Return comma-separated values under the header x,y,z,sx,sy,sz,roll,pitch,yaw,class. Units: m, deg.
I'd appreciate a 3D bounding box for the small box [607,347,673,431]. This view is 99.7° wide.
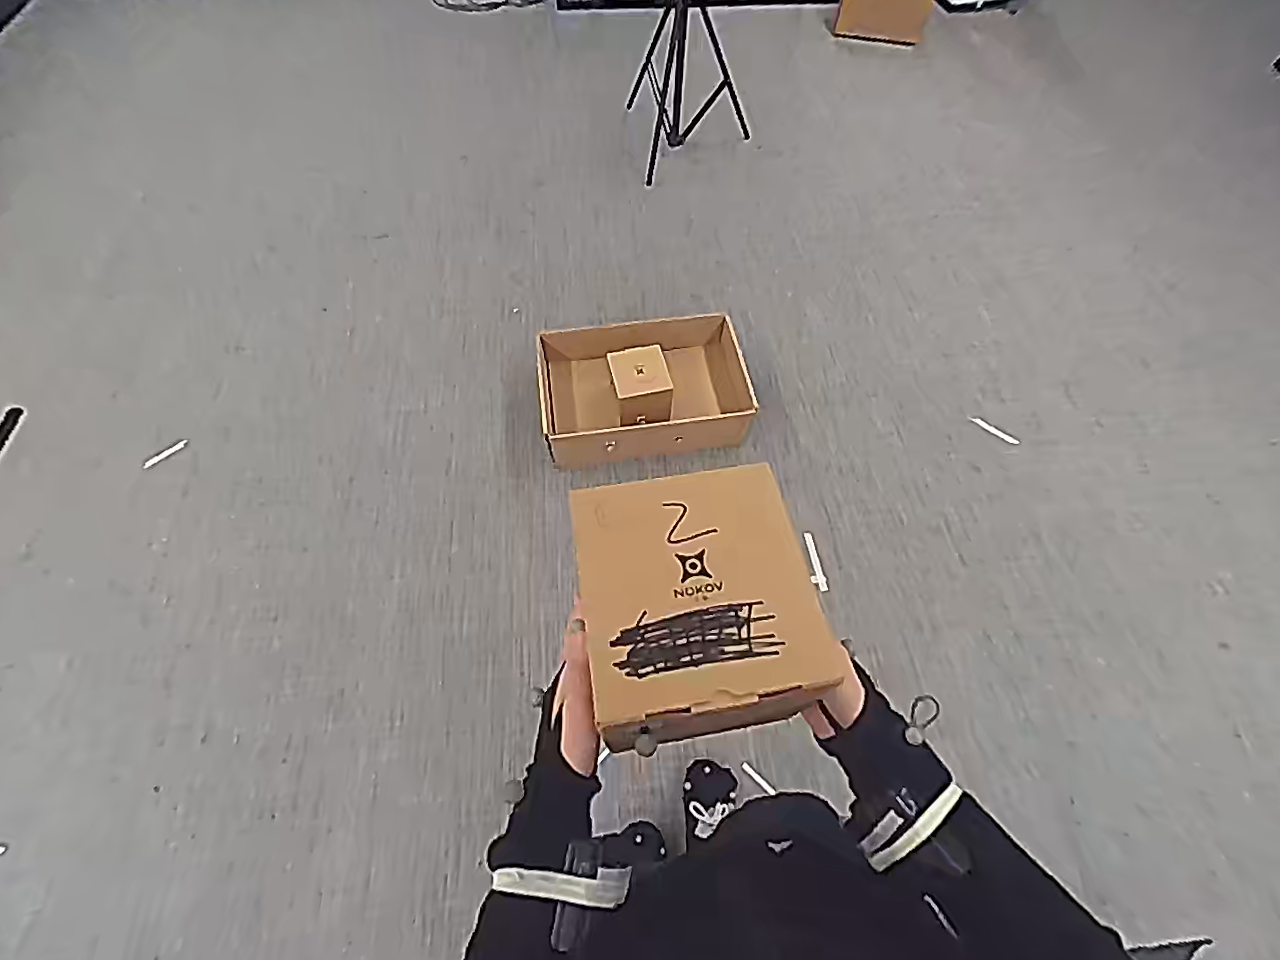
x,y,z,sx,sy,sz,roll,pitch,yaw,class
-0.004,-0.276,1.657,0.168,0.176,0.179,-13,63,-7,small box
